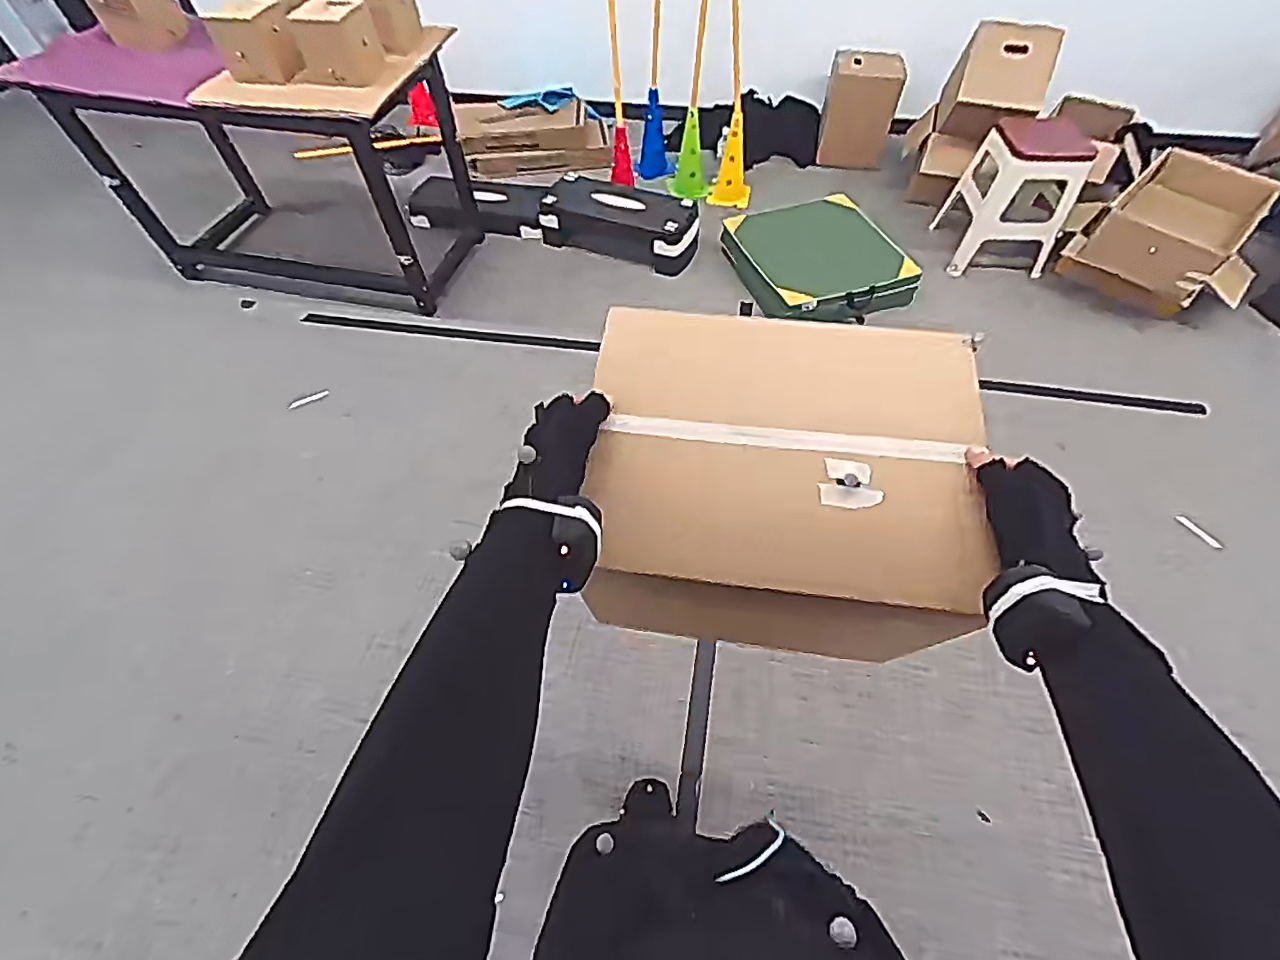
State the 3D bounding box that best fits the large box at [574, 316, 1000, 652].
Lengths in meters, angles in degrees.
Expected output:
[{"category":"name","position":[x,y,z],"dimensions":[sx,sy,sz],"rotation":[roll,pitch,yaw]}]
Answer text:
[{"category":"large box","position":[0.156,0.022,0.701],"dimensions":[0.408,0.320,0.320],"rotation":[7,67,6]}]
